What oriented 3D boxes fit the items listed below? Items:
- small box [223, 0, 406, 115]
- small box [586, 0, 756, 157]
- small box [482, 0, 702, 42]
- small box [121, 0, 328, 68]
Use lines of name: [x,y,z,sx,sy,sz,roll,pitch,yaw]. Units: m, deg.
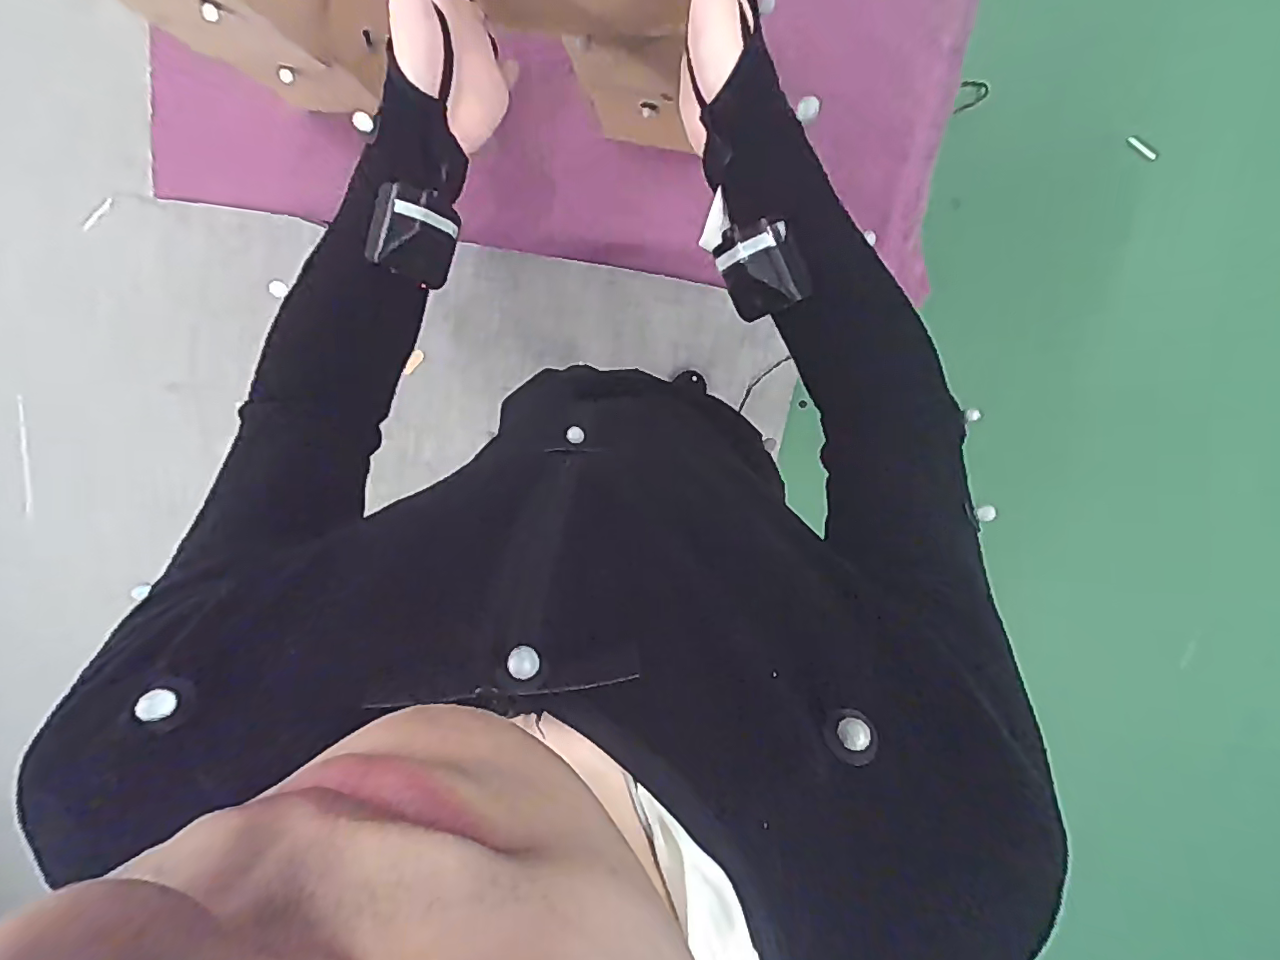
small box: [-0.445,-0.633,0.744,0.179,0.176,0.168,9,102,5]
small box: [0.045,-0.549,0.702,0.179,0.176,0.168,13,102,3]
small box: [-0.042,-0.430,0.363,0.179,0.176,0.168,7,108,7]
small box: [-0.463,-0.587,0.585,0.179,0.176,0.168,10,102,5]
